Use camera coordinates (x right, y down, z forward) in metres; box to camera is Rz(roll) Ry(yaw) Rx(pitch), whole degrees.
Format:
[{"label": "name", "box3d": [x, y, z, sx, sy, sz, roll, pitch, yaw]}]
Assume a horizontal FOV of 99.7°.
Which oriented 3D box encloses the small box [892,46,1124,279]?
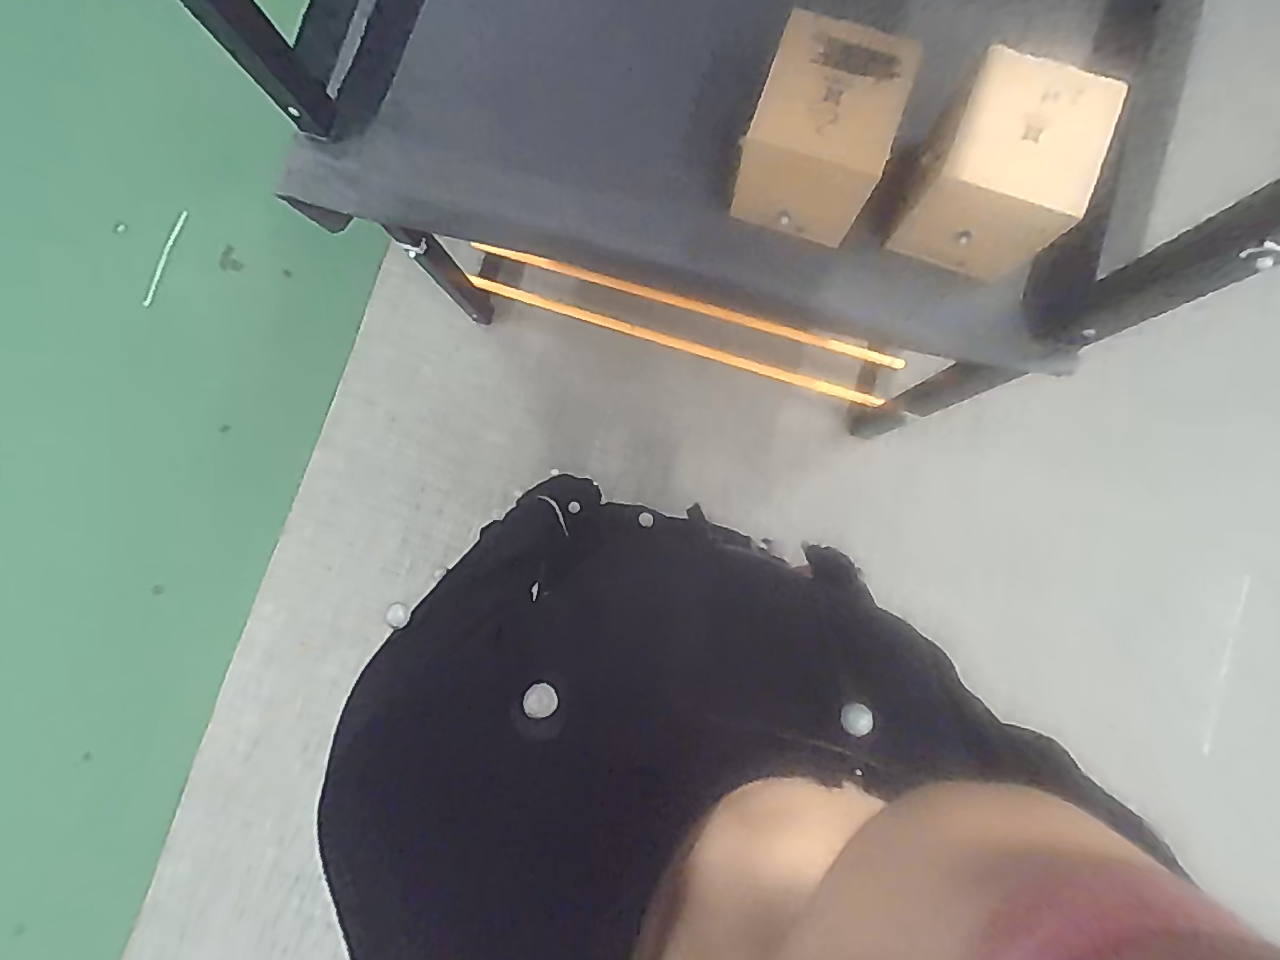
[{"label": "small box", "box3d": [0.454, -0.393, 0.700, 0.168, 0.176, 0.179, 21, 86, 5]}]
